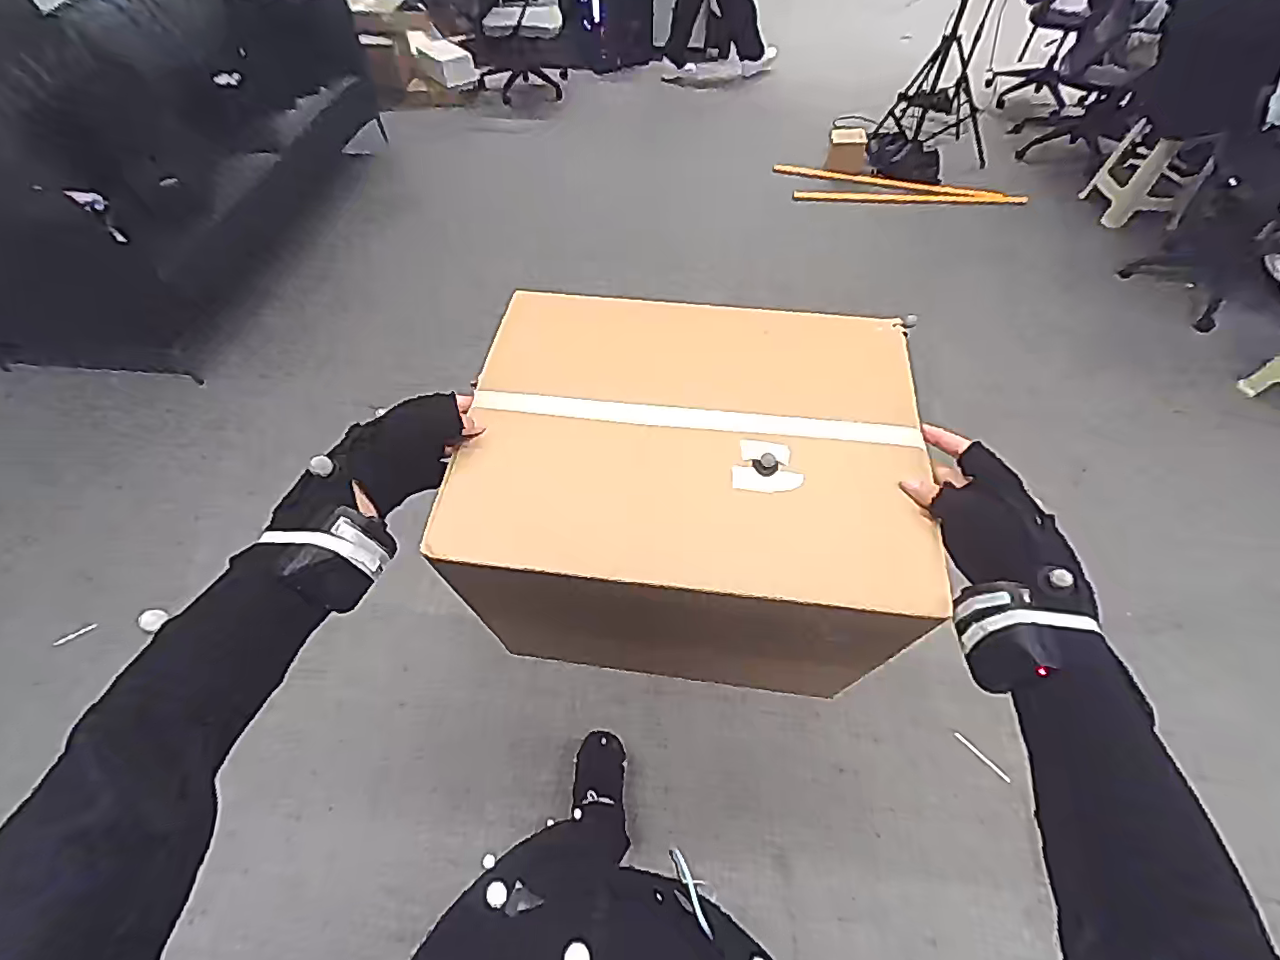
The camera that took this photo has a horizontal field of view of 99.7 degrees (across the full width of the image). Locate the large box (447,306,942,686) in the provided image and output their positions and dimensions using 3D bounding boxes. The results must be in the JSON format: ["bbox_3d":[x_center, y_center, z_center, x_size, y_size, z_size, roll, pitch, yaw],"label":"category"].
[{"bbox_3d":[0.053,0.031,0.631,0.408,0.320,0.320,6,59,4],"label":"large box"}]
